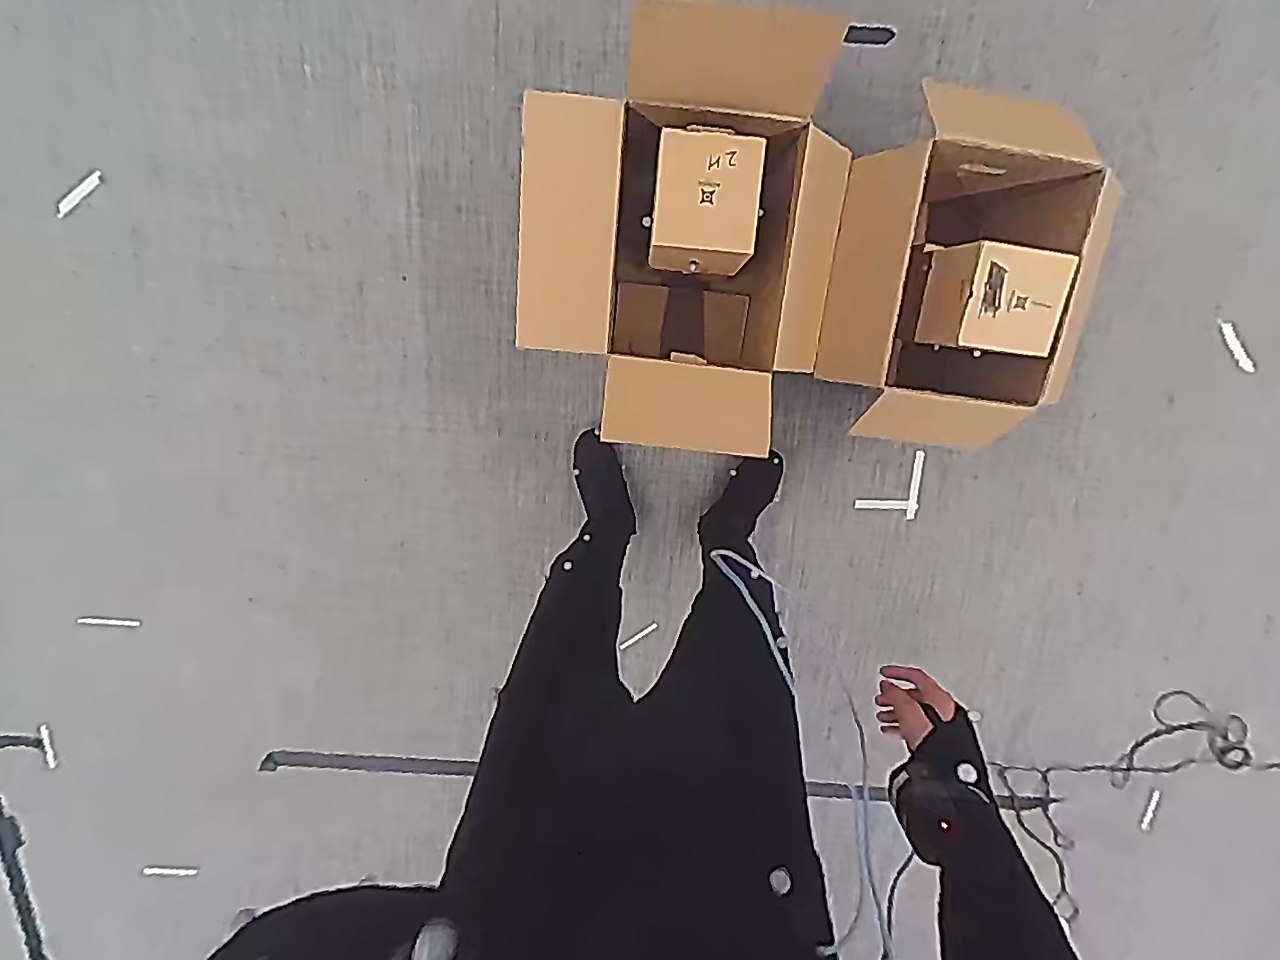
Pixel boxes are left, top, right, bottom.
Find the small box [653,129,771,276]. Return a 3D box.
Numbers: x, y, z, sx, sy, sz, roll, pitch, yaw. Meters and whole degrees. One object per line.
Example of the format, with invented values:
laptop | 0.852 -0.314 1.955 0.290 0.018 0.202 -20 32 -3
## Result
small box | 0.112 -0.457 0.920 0.168 0.176 0.179 5 99 -2
